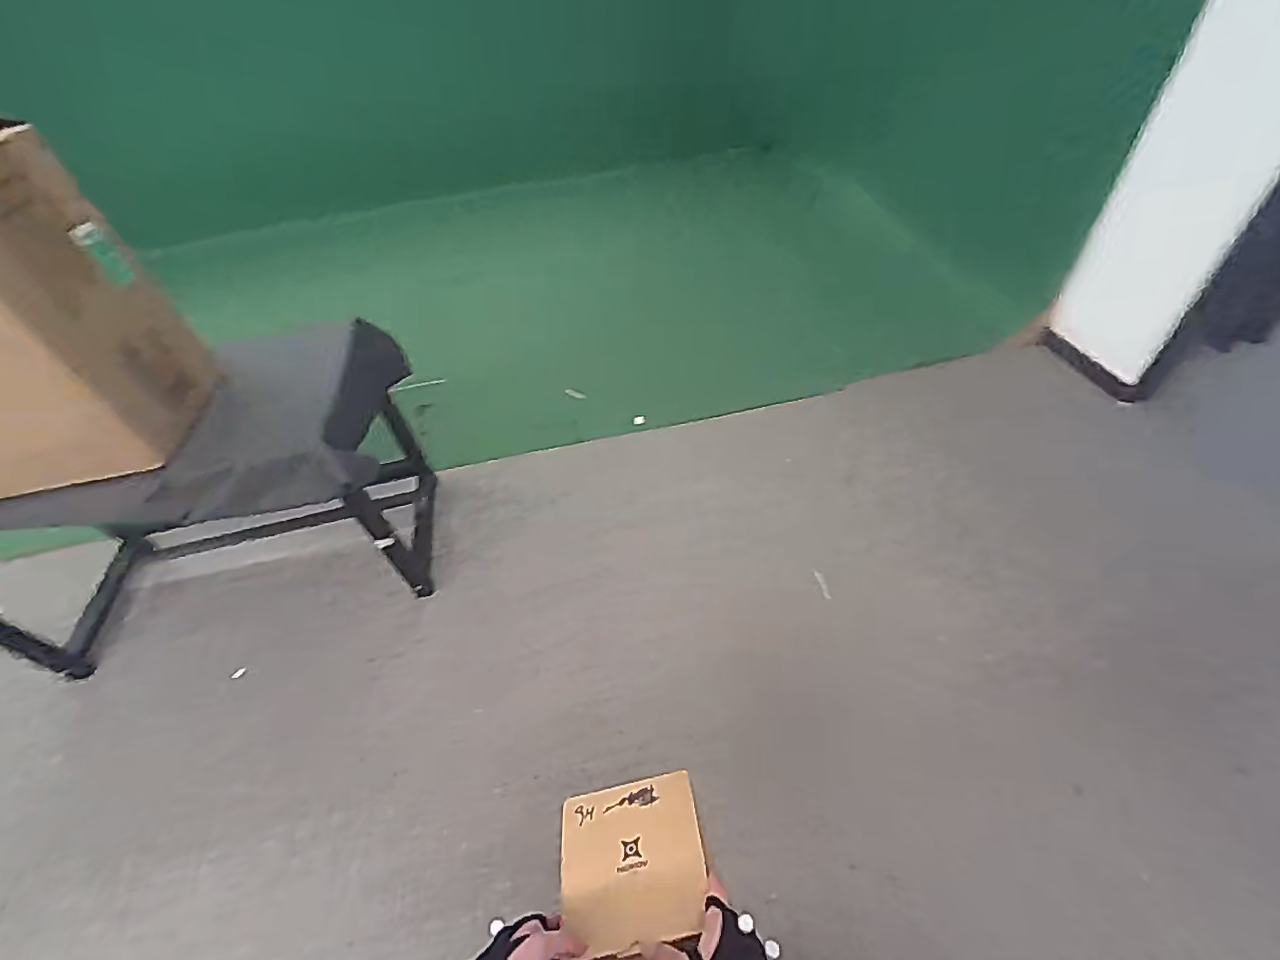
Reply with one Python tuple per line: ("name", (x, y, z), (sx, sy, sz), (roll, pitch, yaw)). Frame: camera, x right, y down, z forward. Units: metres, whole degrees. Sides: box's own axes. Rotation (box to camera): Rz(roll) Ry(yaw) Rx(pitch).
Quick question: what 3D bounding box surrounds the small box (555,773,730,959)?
("small box", (0.004, 0.503, 0.659), (0.168, 0.176, 0.179), (-16, 29, 2))
